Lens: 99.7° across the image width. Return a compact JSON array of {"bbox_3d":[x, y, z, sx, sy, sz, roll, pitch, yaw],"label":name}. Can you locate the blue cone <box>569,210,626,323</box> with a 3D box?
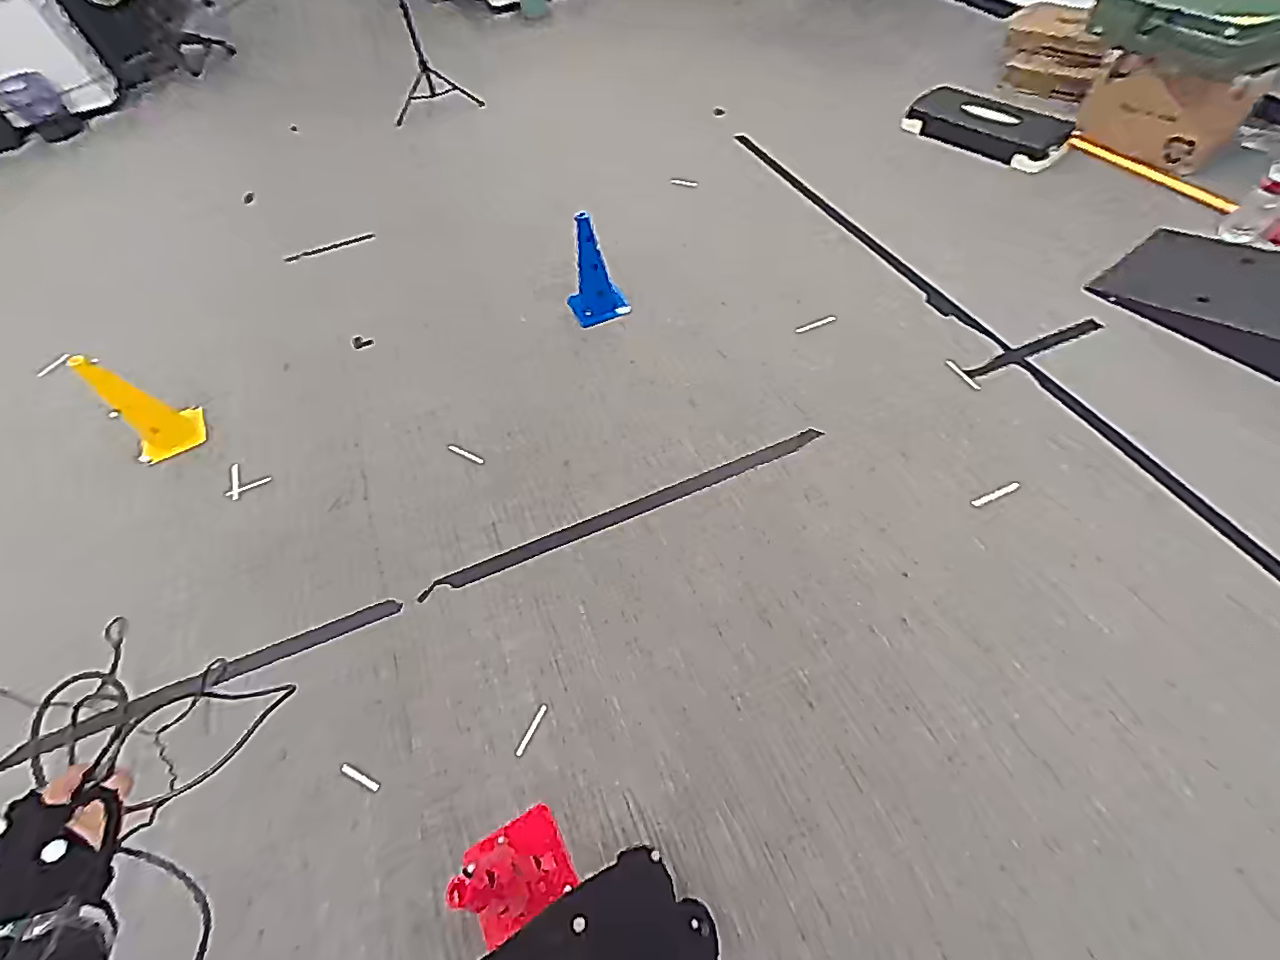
[{"bbox_3d":[-0.177,-0.762,1.917,0.193,0.380,0.192,-21,56,-8],"label":"blue cone"}]

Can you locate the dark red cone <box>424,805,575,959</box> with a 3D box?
[{"bbox_3d":[-0.264,0.689,0.924,0.202,0.394,0.201,-28,57,-12],"label":"dark red cone"}]
